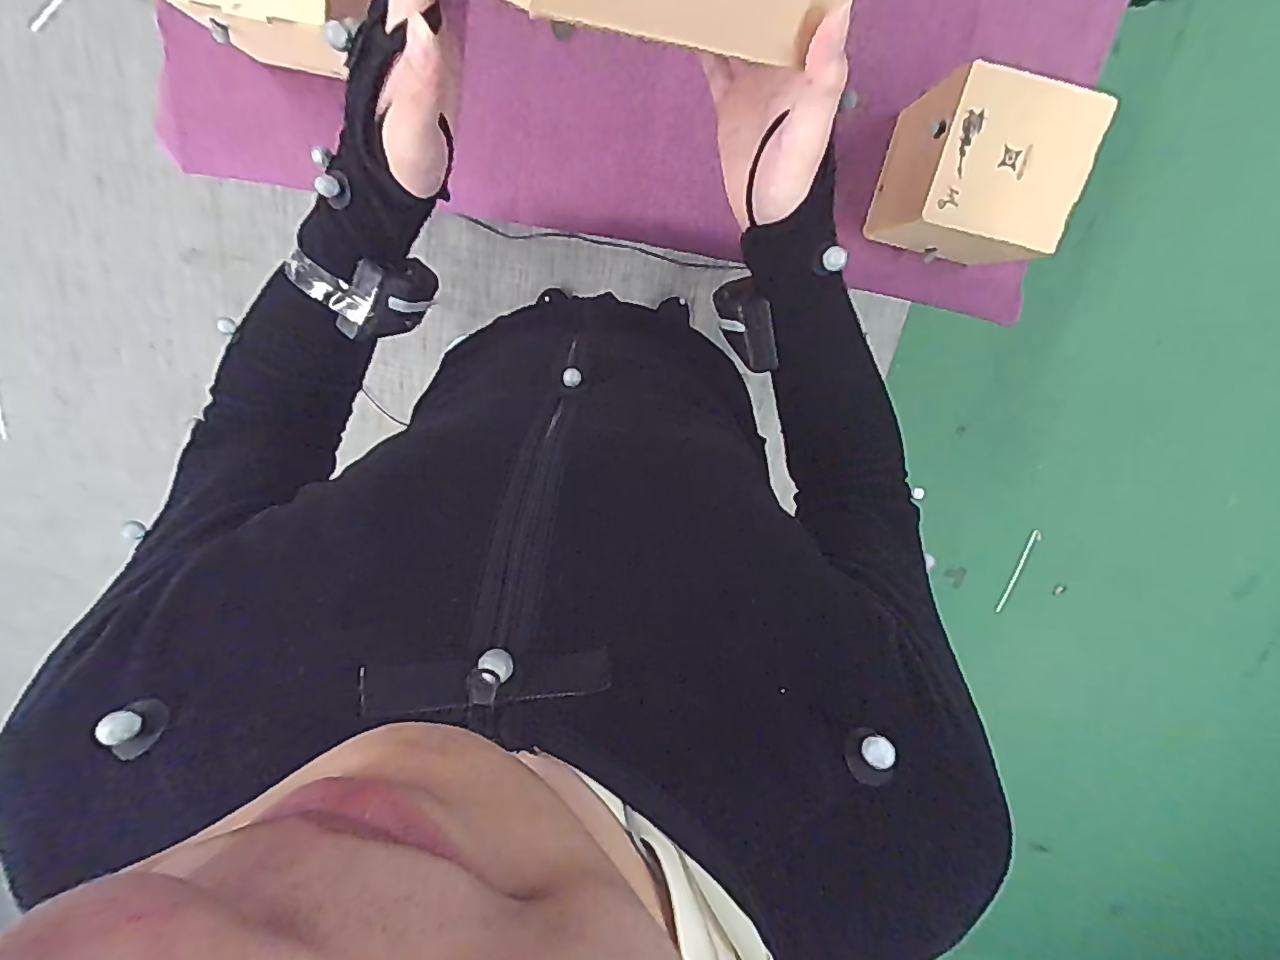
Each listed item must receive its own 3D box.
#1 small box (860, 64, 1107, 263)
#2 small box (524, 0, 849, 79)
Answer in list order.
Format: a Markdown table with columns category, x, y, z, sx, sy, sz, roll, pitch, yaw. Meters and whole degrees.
| category | x | y | z | sx | sy | sz | roll | pitch | yaw |
| --- | --- | --- | --- | --- | --- | --- | --- | --- | --- |
| small box | 0.421 | -0.386 | 0.696 | 0.179 | 0.176 | 0.168 | 12 | 107 | -6 |
| small box | 0.008 | -0.319 | 0.247 | 0.168 | 0.176 | 0.179 | -12 | 139 | -28 |
